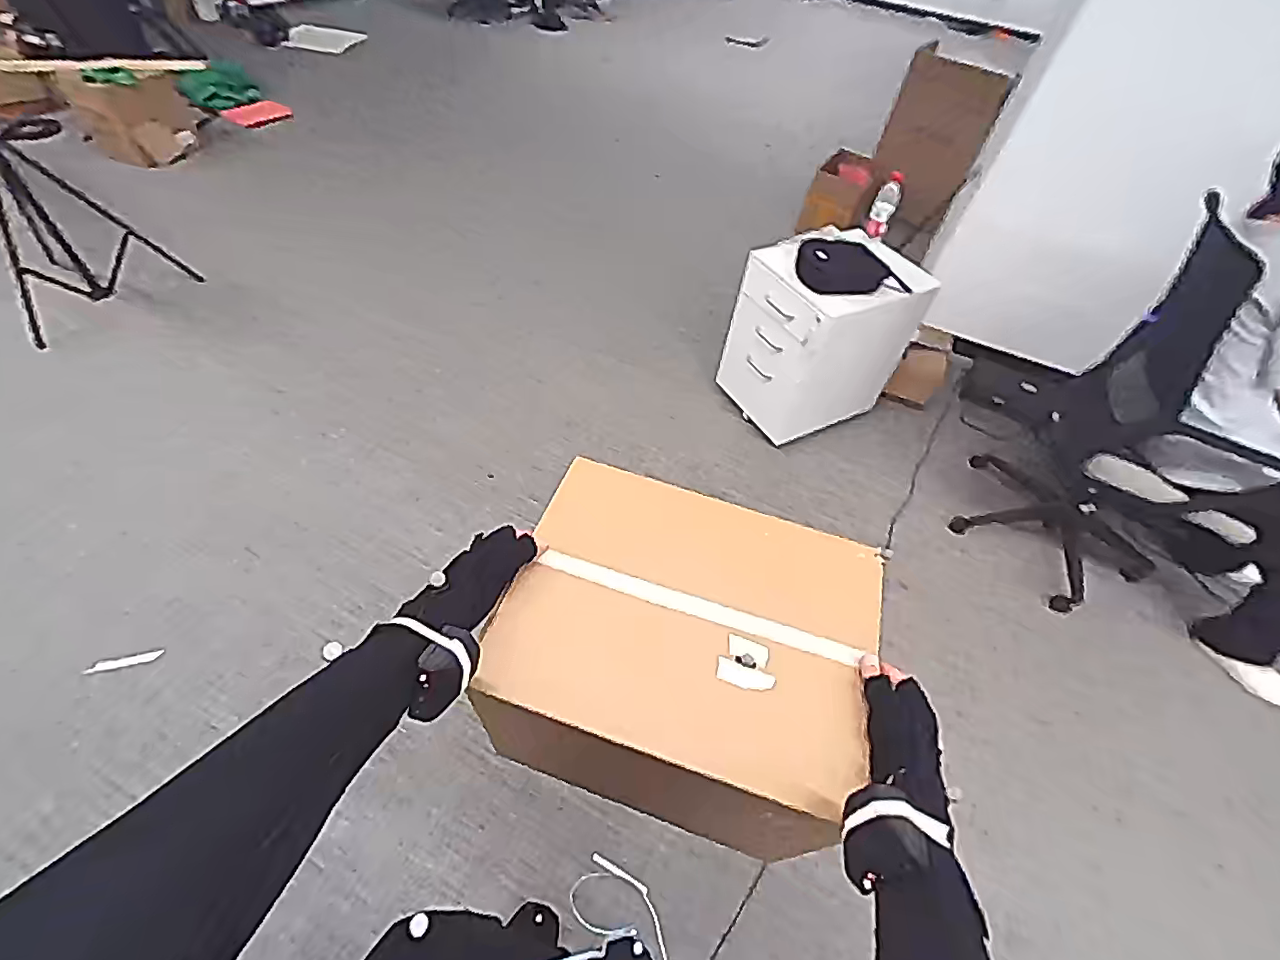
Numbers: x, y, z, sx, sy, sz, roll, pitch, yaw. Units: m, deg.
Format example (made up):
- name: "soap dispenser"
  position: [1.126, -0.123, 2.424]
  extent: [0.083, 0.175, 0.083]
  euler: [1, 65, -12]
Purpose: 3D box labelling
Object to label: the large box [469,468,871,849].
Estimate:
- name: "large box"
  position: [0.042, 0.239, 0.724]
  extent: [0.408, 0.320, 0.320]
  euler: [17, 53, 7]
